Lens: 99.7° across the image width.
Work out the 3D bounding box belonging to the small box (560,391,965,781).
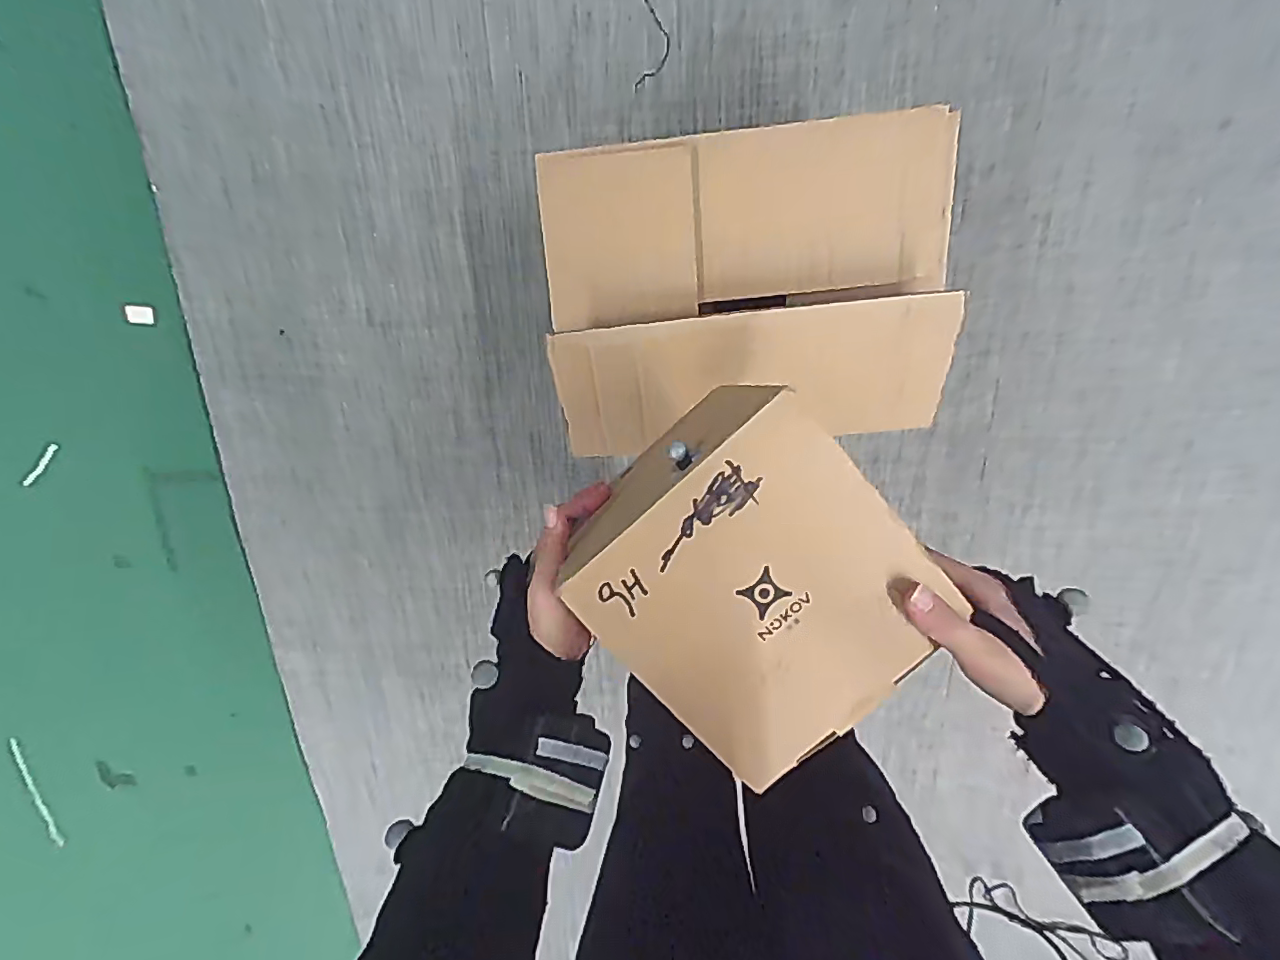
[{"bbox_3d":[0.067,0.051,0.378,0.168,0.176,0.179,-42,101,4],"label":"small box"}]
